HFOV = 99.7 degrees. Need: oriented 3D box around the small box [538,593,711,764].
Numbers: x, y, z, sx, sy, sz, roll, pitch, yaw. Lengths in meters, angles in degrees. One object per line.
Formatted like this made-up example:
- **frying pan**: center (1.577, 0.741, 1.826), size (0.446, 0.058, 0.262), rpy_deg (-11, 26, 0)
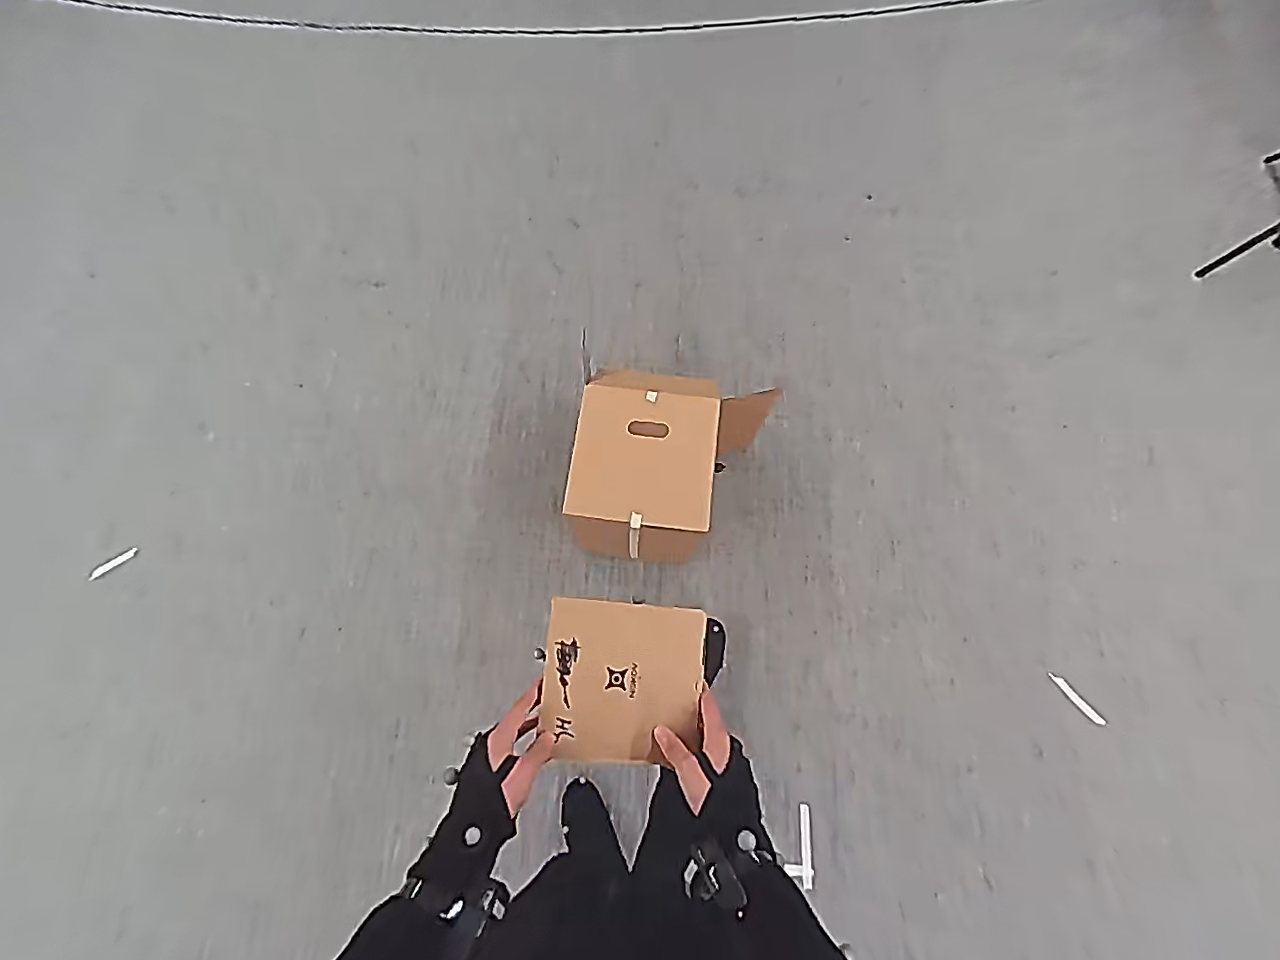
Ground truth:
- **small box**: center (-0.025, 0.229, 0.660), size (0.179, 0.176, 0.168), rpy_deg (7, 78, -7)
